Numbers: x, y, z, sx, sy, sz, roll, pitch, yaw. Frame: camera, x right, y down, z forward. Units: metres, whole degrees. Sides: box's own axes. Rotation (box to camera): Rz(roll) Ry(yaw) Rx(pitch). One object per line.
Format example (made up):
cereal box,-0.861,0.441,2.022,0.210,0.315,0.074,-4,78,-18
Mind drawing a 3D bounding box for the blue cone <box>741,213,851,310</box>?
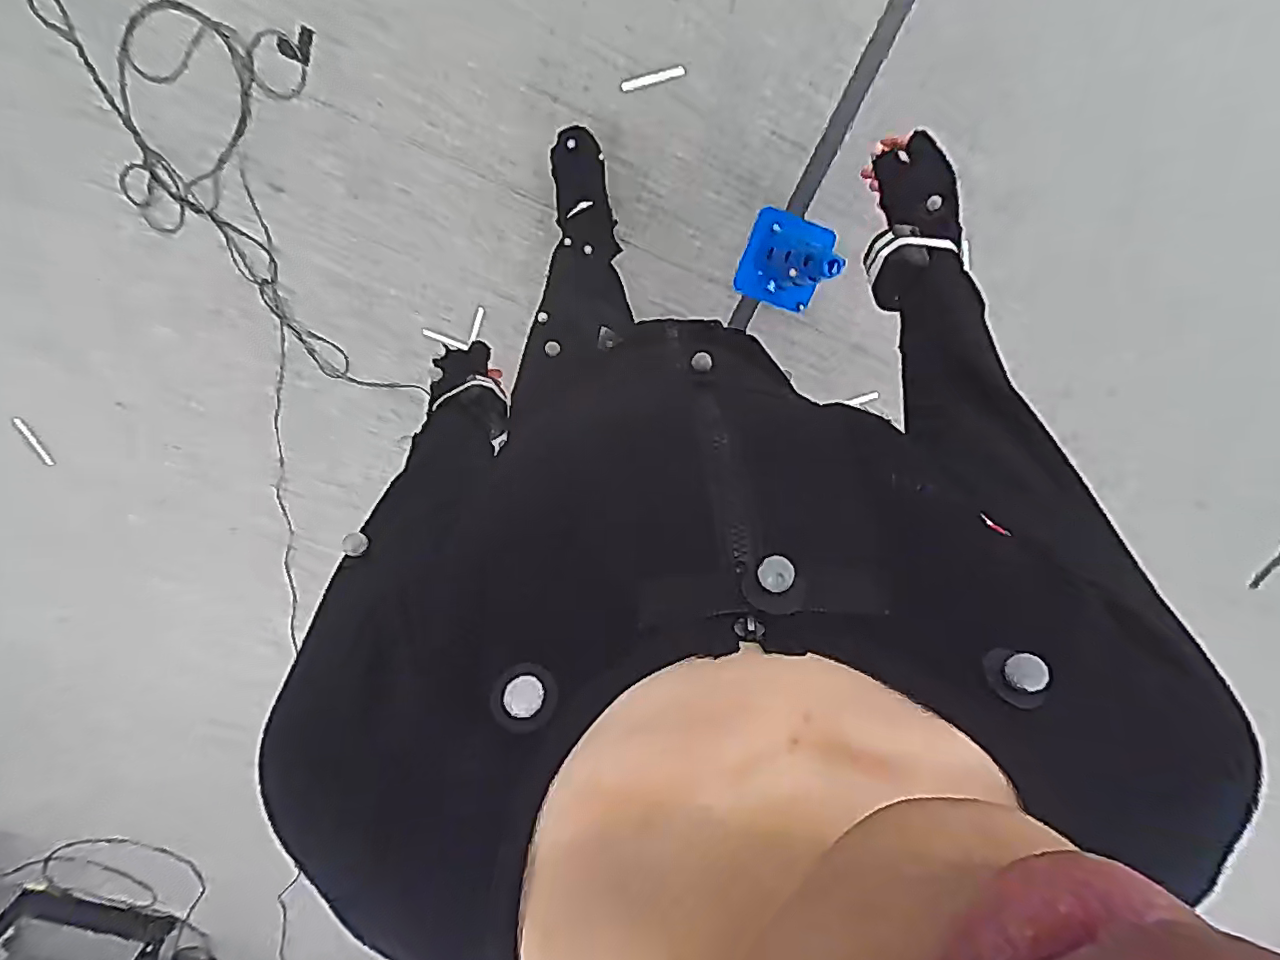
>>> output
blue cone,0.355,-0.463,1.158,0.192,0.380,0.193,18,111,-9
